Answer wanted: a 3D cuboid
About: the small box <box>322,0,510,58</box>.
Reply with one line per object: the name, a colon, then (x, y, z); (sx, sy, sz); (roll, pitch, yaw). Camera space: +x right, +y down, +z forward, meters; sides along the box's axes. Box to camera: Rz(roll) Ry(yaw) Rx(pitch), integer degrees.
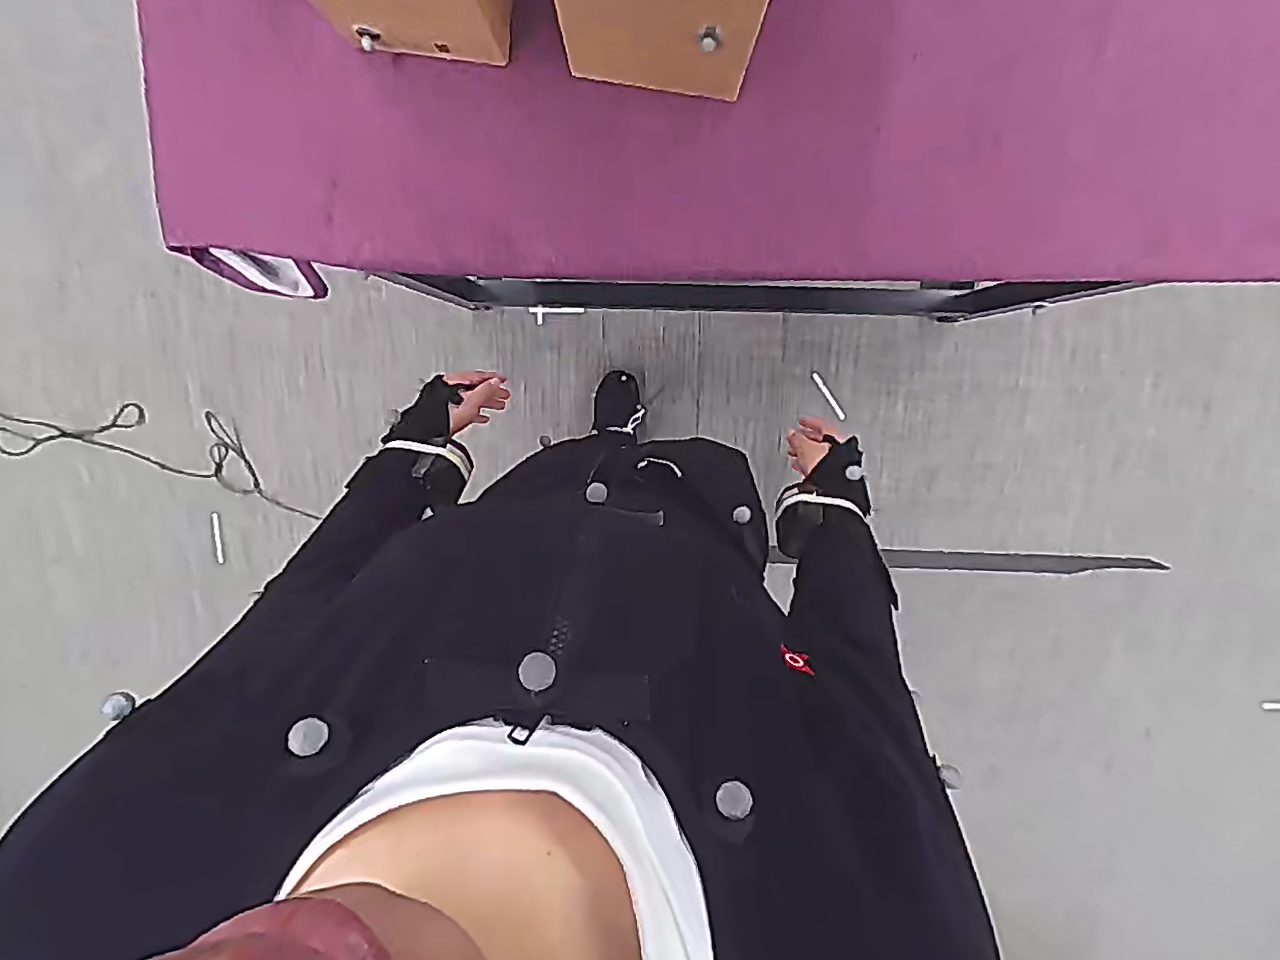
small box: (-0.210, -0.509, 0.465); (0.168, 0.176, 0.179); (6, 101, -1)
